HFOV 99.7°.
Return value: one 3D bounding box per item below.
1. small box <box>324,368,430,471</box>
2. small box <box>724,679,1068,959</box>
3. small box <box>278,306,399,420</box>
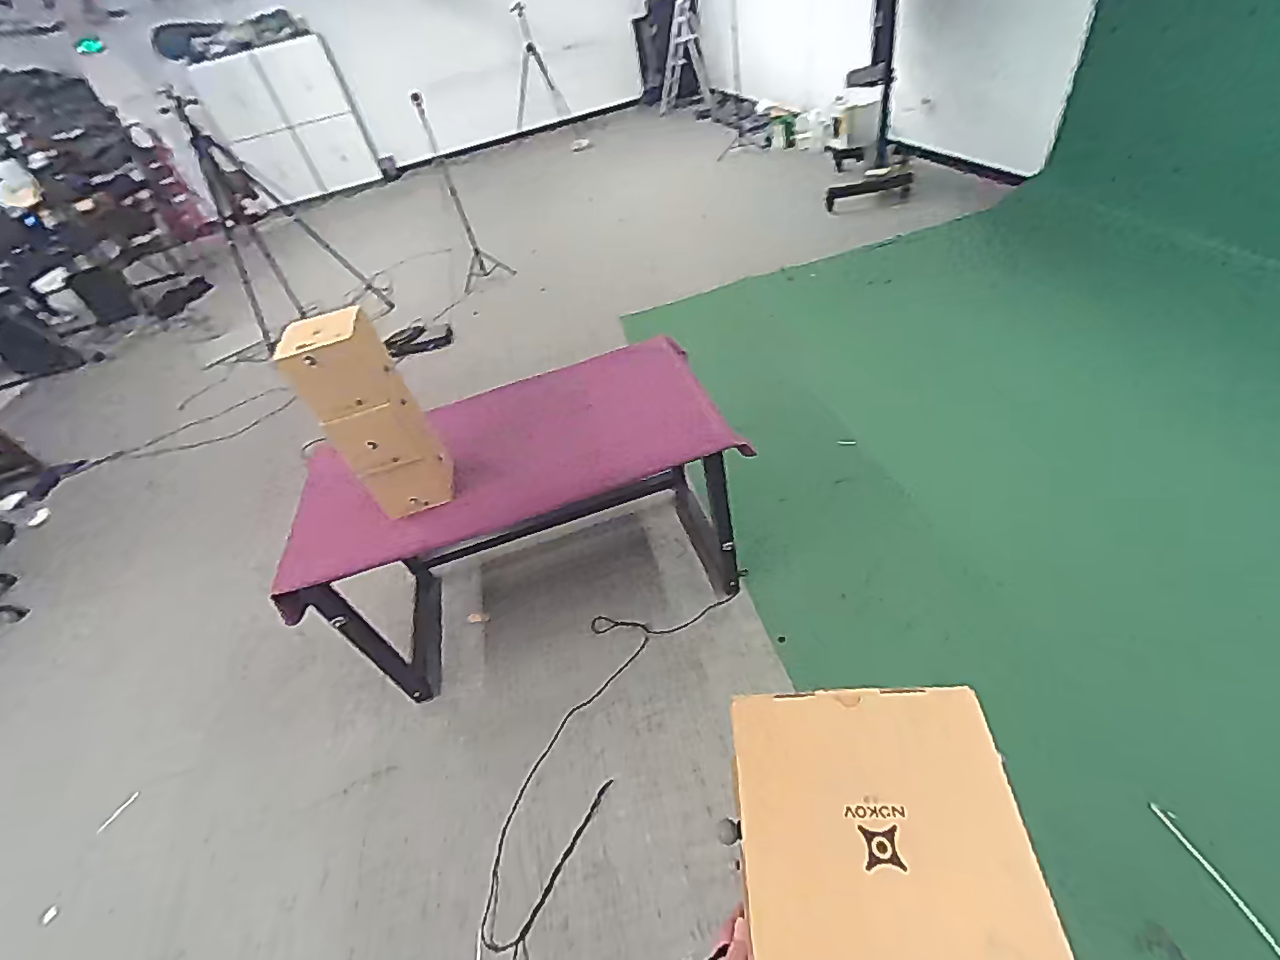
[{"bbox_3d":[-0.635,-0.142,1.329,0.168,0.176,0.179,-17,43,-2],"label":"small box"},{"bbox_3d":[0.154,0.260,0.383,0.168,0.176,0.179,-6,49,8],"label":"small box"},{"bbox_3d":[-0.668,-0.264,1.224,0.168,0.176,0.179,-18,42,-3],"label":"small box"}]
